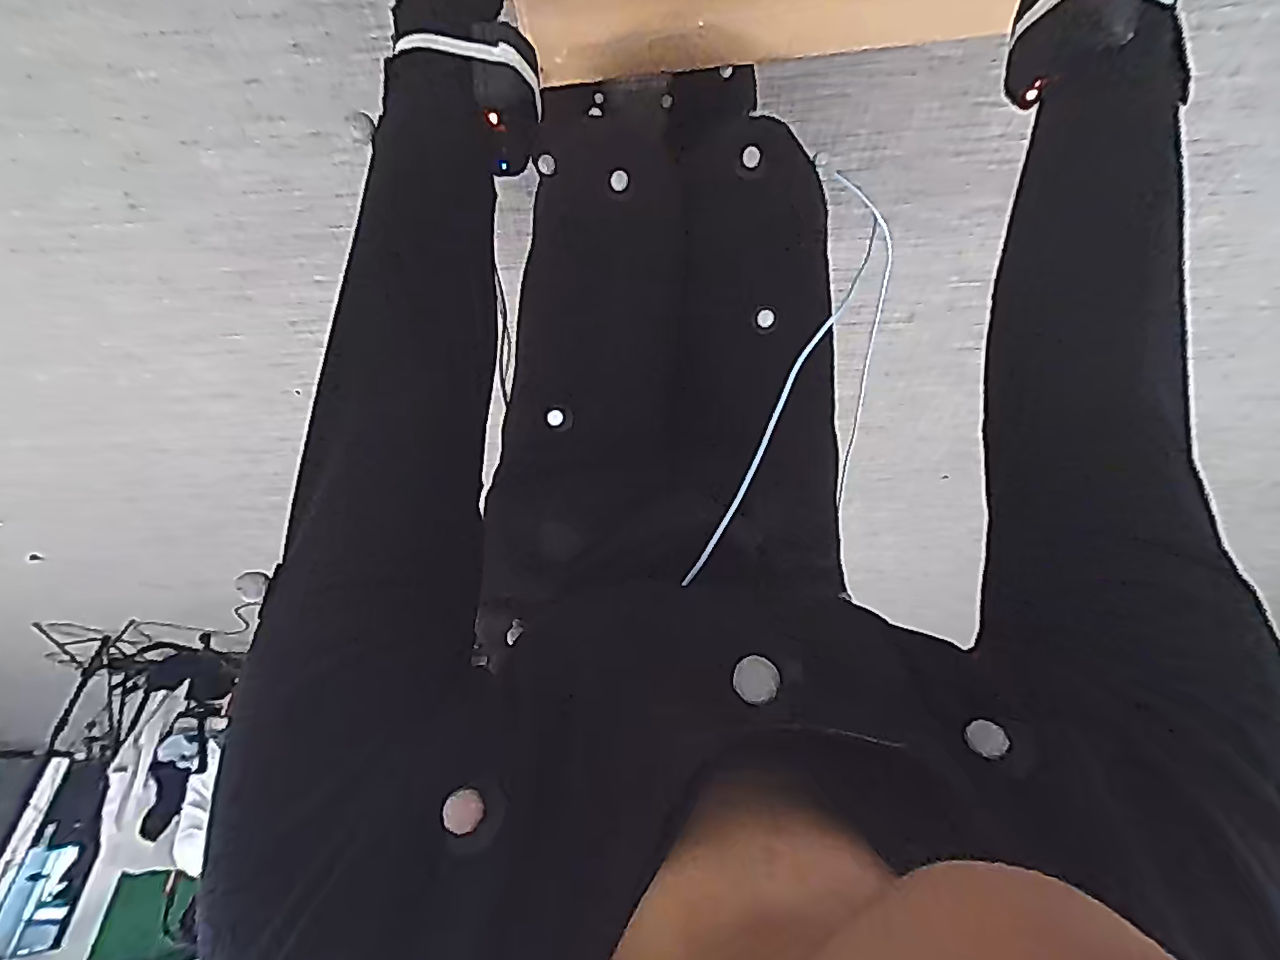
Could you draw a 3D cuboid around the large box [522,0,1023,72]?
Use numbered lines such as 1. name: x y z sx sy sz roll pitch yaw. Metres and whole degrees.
1. large box: 0.096 -0.571 0.406 0.408 0.320 0.320 -2 147 4
